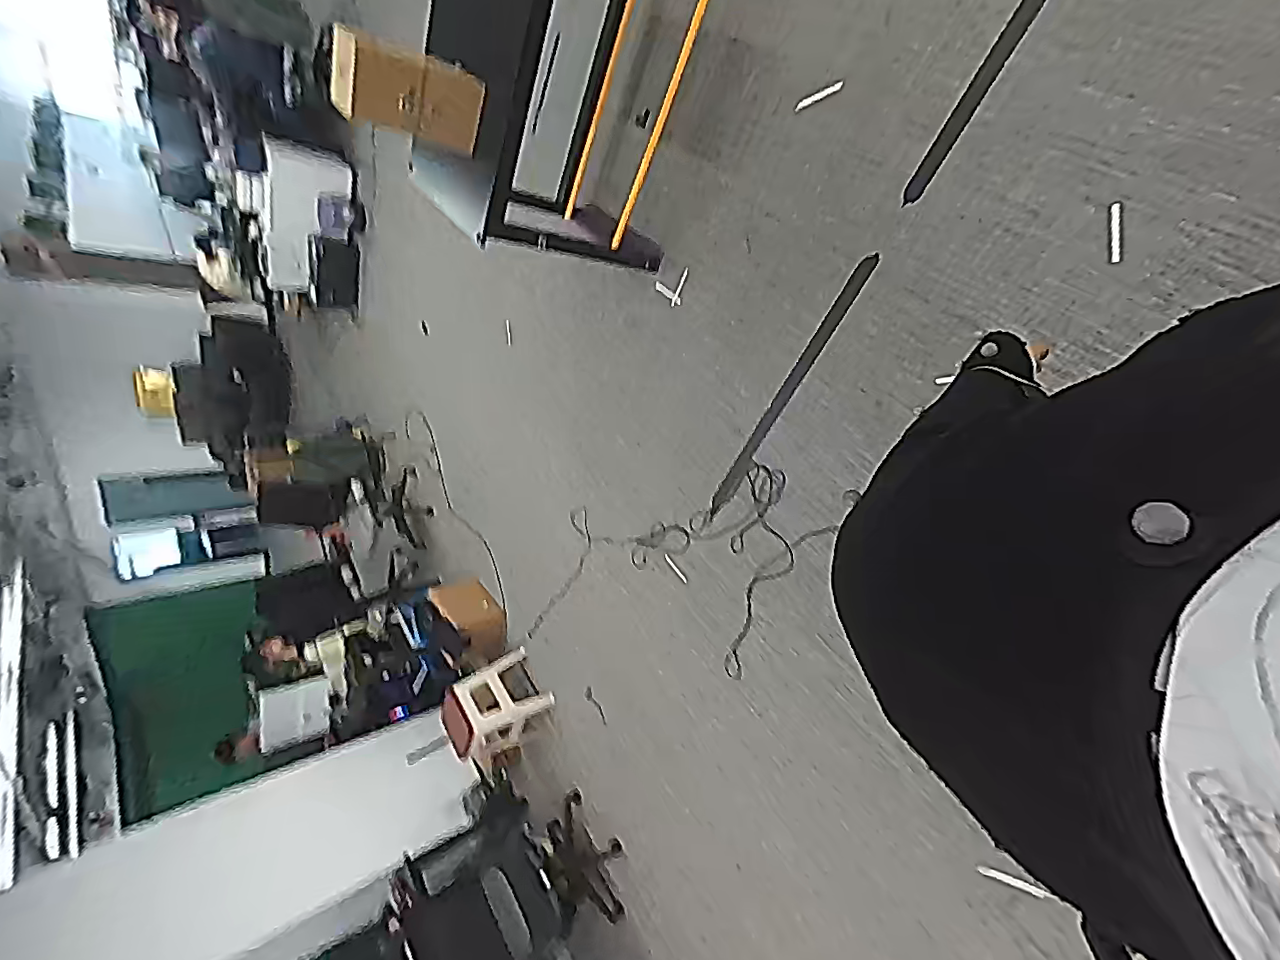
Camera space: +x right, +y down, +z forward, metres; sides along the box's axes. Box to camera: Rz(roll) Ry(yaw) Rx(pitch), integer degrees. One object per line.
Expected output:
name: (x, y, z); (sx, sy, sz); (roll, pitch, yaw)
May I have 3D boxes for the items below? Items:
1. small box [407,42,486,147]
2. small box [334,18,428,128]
small box: (-0.547, -1.058, 1.496); (0.168, 0.176, 0.179); (50, 128, 30)
small box: (-0.667, -1.037, 1.388); (0.179, 0.176, 0.168); (48, 130, 30)
